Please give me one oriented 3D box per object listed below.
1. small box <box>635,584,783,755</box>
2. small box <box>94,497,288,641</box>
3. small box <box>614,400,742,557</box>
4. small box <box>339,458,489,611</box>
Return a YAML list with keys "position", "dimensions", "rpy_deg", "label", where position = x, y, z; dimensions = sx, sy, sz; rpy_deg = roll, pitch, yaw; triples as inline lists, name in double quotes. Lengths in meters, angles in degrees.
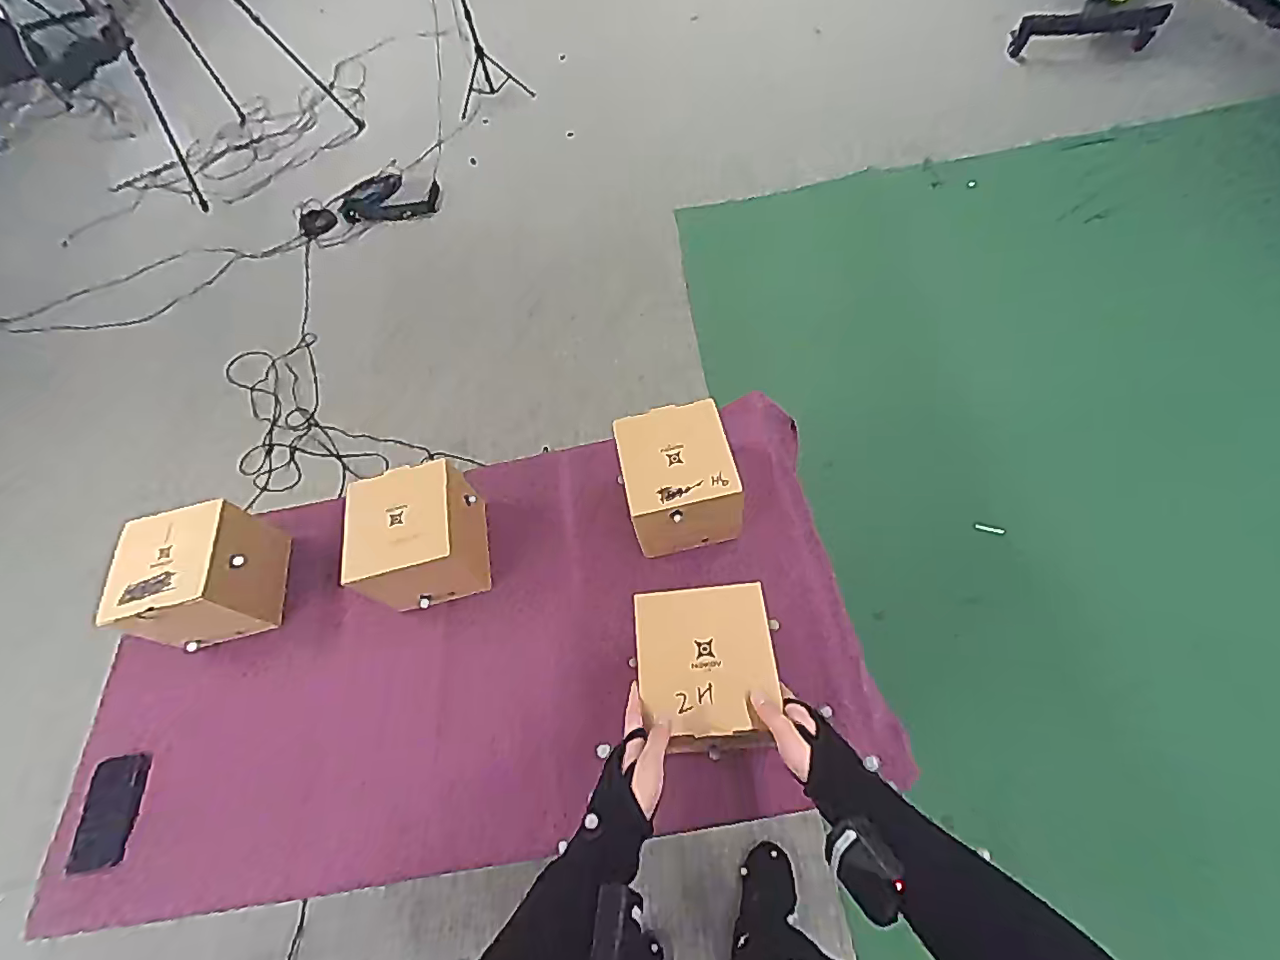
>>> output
- position: [0.085, 0.254, 0.714]
  dimensions: [0.168, 0.176, 0.179]
  rpy_deg: [-6, 58, 5]
  label: "small box"
- position: [-0.724, 0.156, 0.898]
  dimensions: [0.168, 0.176, 0.179]
  rpy_deg: [-14, 58, -1]
  label: "small box"
- position: [0.061, 0.003, 0.877]
  dimensions: [0.168, 0.176, 0.179]
  rpy_deg: [-13, 59, 2]
  label: "small box"
- position: [-0.359, 0.094, 0.885]
  dimensions: [0.168, 0.176, 0.179]
  rpy_deg: [-14, 60, 1]
  label: "small box"
